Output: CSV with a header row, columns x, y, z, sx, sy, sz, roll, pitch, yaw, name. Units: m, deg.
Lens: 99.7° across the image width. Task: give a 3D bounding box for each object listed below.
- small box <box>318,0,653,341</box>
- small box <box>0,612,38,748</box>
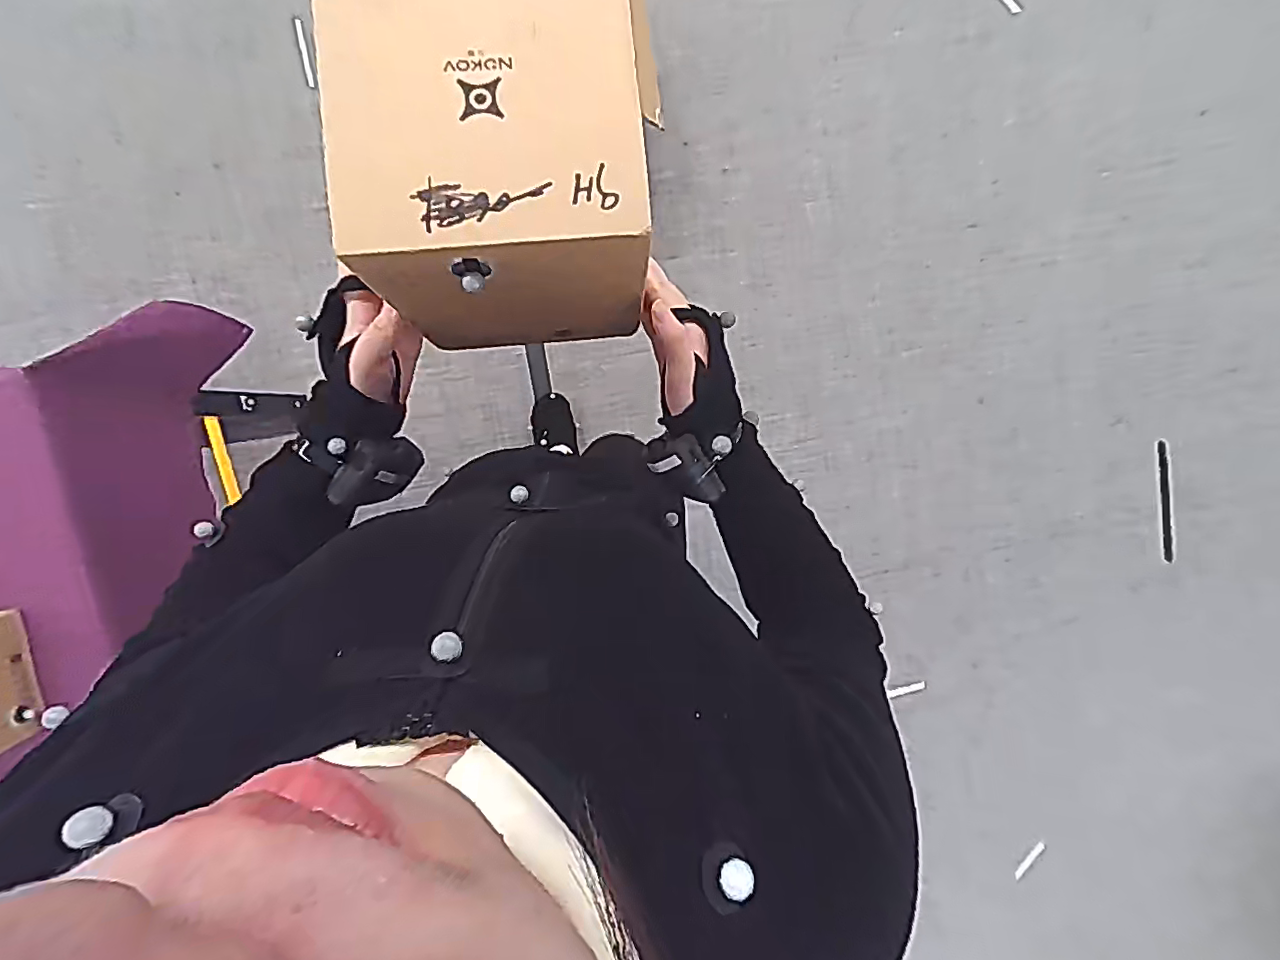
x,y,z,sx,sy,sz,roll,pitch,yaw,name
-0.085,-0.207,0.359,0.168,0.176,0.179,-5,87,-3,small box
-0.872,0.265,0.627,0.179,0.176,0.168,-6,98,-4,small box
